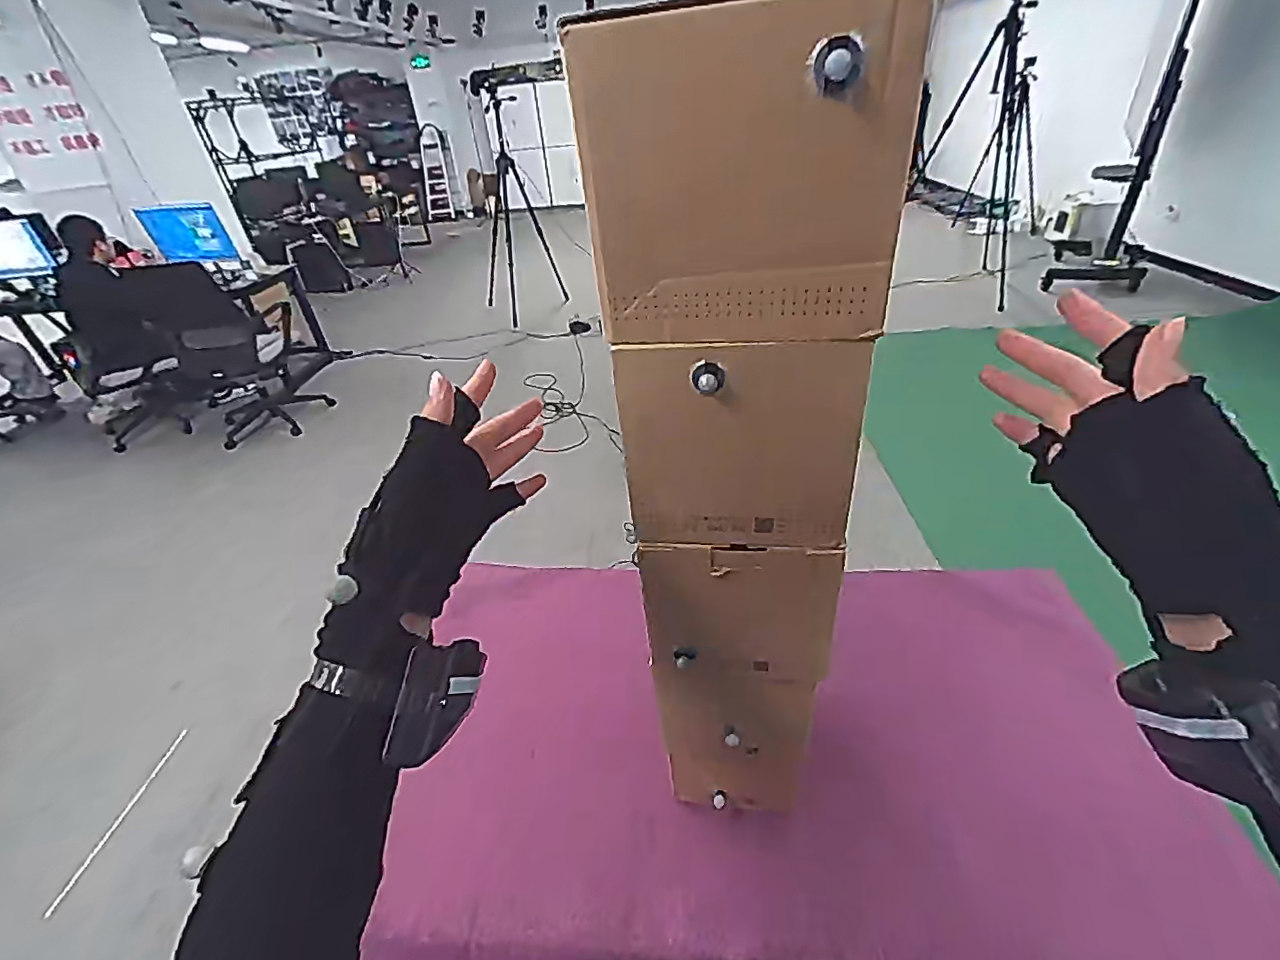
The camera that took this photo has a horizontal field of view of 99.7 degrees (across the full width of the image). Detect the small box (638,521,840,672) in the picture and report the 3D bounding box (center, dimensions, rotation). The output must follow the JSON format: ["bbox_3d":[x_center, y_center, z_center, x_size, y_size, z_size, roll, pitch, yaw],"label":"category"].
[{"bbox_3d":[0.099,0.070,0.544,0.168,0.176,0.179,0,34,10],"label":"small box"}]

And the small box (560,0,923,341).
[{"bbox_3d":[0.066,-0.199,0.362,0.179,0.176,0.168,3,36,12],"label":"small box"}]

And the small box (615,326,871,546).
[{"bbox_3d":[0.083,-0.066,0.456,0.168,0.176,0.179,0,34,11],"label":"small box"}]

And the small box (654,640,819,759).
[{"bbox_3d":[0.112,0.199,0.646,0.168,0.176,0.179,-1,36,10],"label":"small box"}]

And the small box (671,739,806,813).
[{"bbox_3d":[0.133,0.323,0.751,0.168,0.176,0.179,0,36,11],"label":"small box"}]
